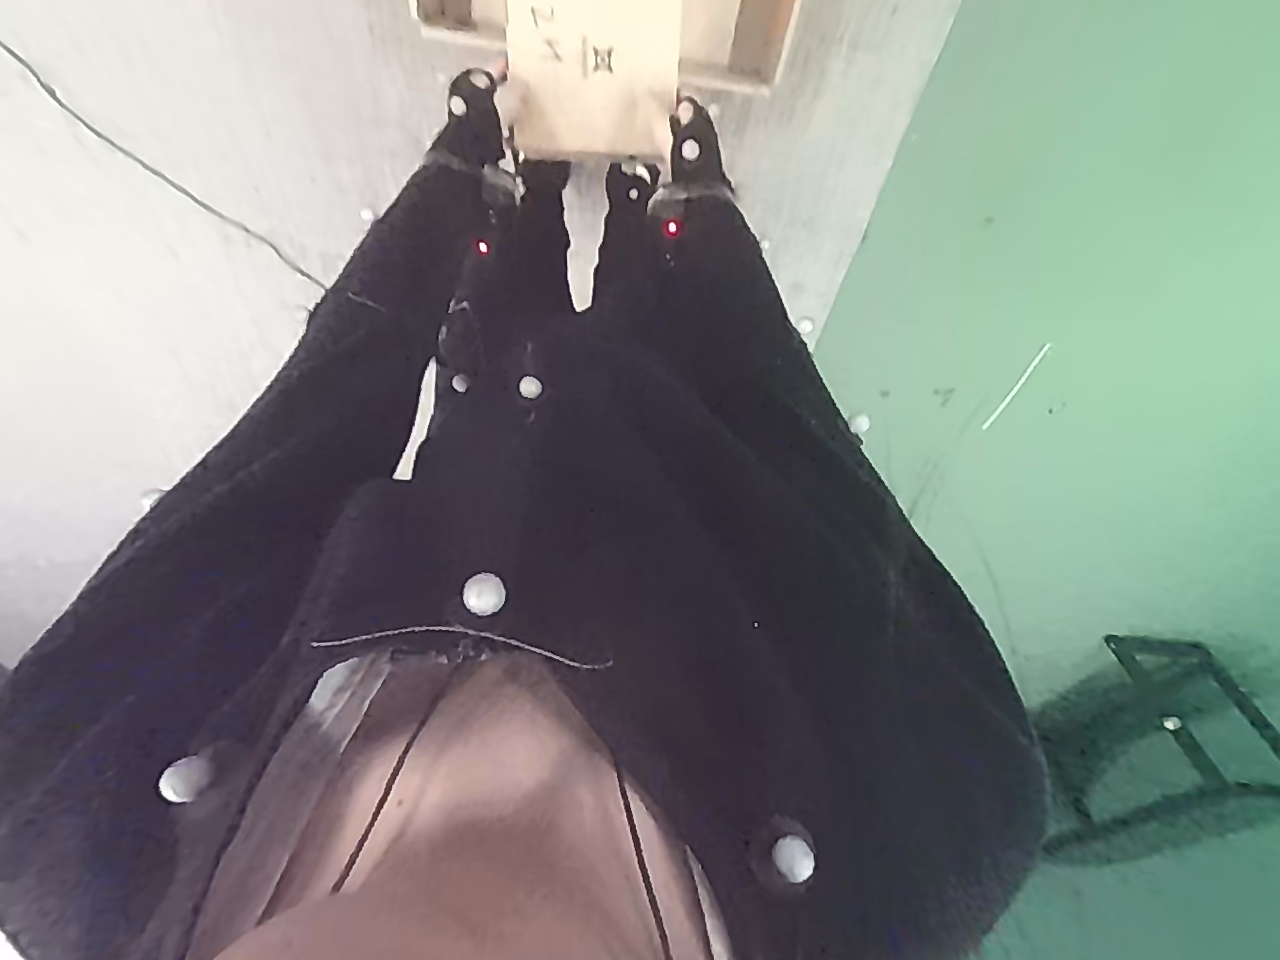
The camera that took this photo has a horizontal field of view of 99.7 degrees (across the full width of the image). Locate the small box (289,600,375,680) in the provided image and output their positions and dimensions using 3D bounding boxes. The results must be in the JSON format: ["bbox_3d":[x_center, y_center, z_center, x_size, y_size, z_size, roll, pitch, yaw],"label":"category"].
[{"bbox_3d":[-1.000,0.523,1.769,0.168,0.176,0.179,33,125,-28],"label":"small box"}]

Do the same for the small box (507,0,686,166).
[{"bbox_3d":[-0.049,-0.459,0.616,0.179,0.176,0.168,0,117,-4],"label":"small box"}]
